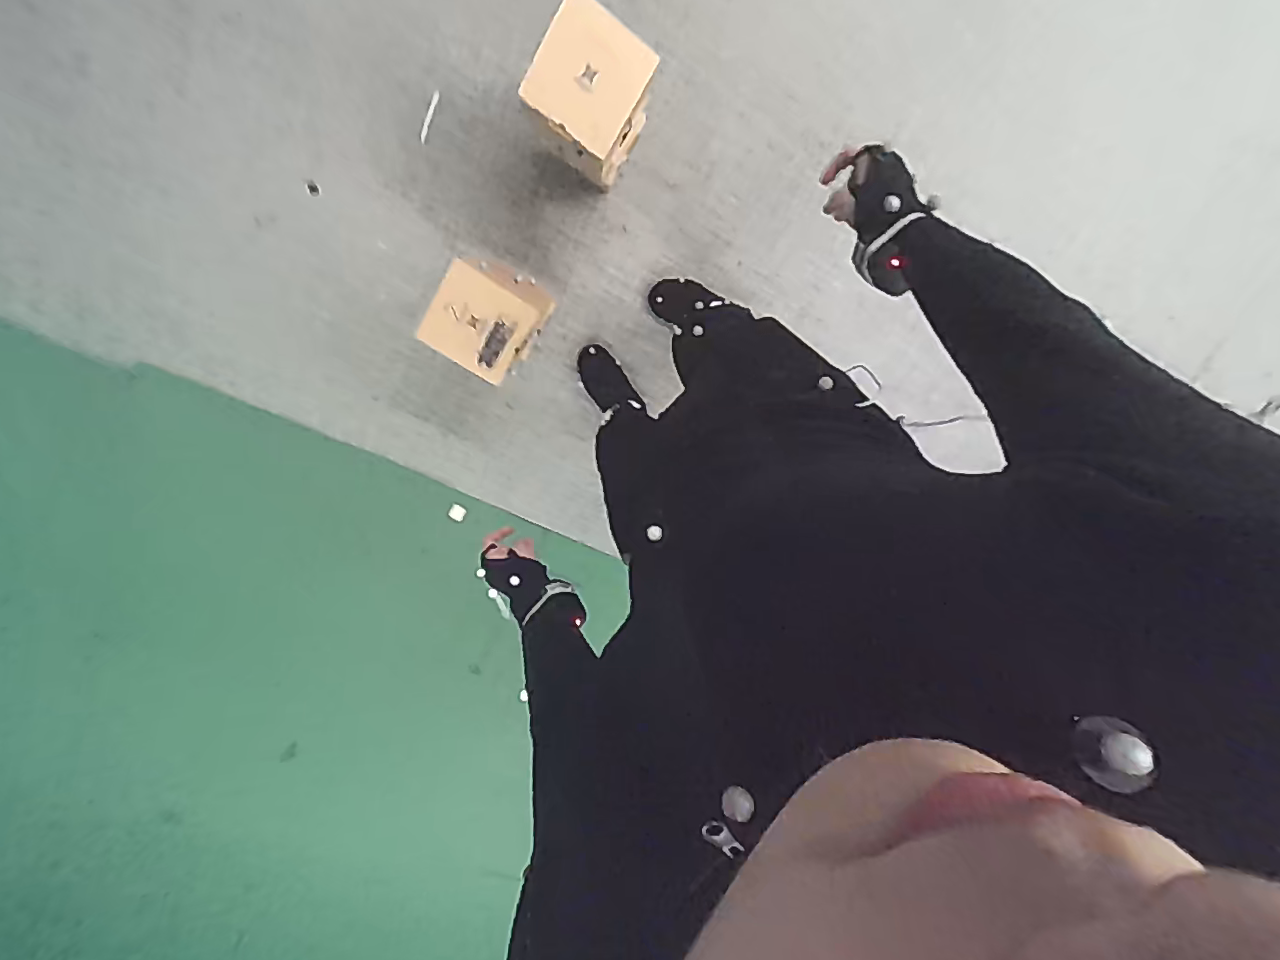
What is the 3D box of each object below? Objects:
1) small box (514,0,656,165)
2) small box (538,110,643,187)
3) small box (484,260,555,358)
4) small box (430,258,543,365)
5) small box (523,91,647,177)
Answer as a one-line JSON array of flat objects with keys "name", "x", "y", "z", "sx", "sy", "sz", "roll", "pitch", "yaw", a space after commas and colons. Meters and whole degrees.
[{"name": "small box", "x": -0.092, "y": -0.673, "z": 0.923, "sx": 0.168, "sy": 0.176, "sz": 0.179, "roll": 31, "pitch": 107, "yaw": -17}, {"name": "small box", "x": -0.113, "y": -0.793, "z": 1.227, "sx": 0.179, "sy": 0.176, "sz": 0.168, "roll": 27, "pitch": 108, "yaw": -16}, {"name": "small box", "x": -0.328, "y": -0.436, "z": 1.363, "sx": 0.179, "sy": 0.176, "sz": 0.168, "roll": 30, "pitch": 107, "yaw": -15}, {"name": "small box", "x": -0.333, "y": -0.382, "z": 1.216, "sx": 0.179, "sy": 0.176, "sz": 0.168, "roll": -25, "pitch": 115, "yaw": 6}, {"name": "small box", "x": -0.109, "y": -0.733, "z": 1.075, "sx": 0.179, "sy": 0.176, "sz": 0.168, "roll": 31, "pitch": 108, "yaw": -17}]
